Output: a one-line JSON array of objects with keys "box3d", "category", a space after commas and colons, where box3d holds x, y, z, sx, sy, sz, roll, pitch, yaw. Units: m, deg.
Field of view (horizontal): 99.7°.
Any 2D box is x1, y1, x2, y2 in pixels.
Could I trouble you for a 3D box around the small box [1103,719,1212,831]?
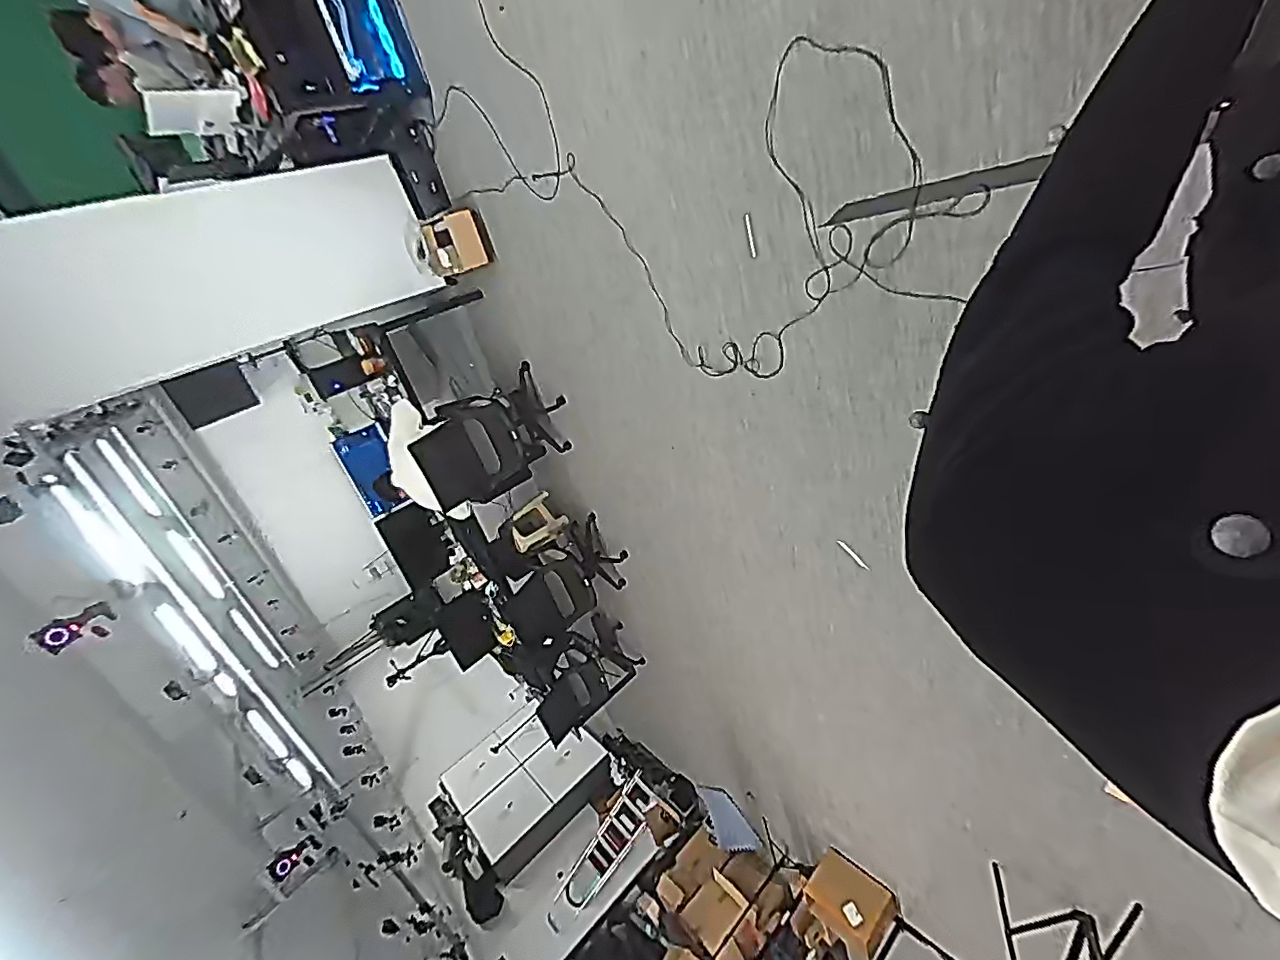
[{"box3d": [1.415, 0.798, 1.479, 0.179, 0.176, 0.168, 20, 134, 46], "category": "small box"}]
